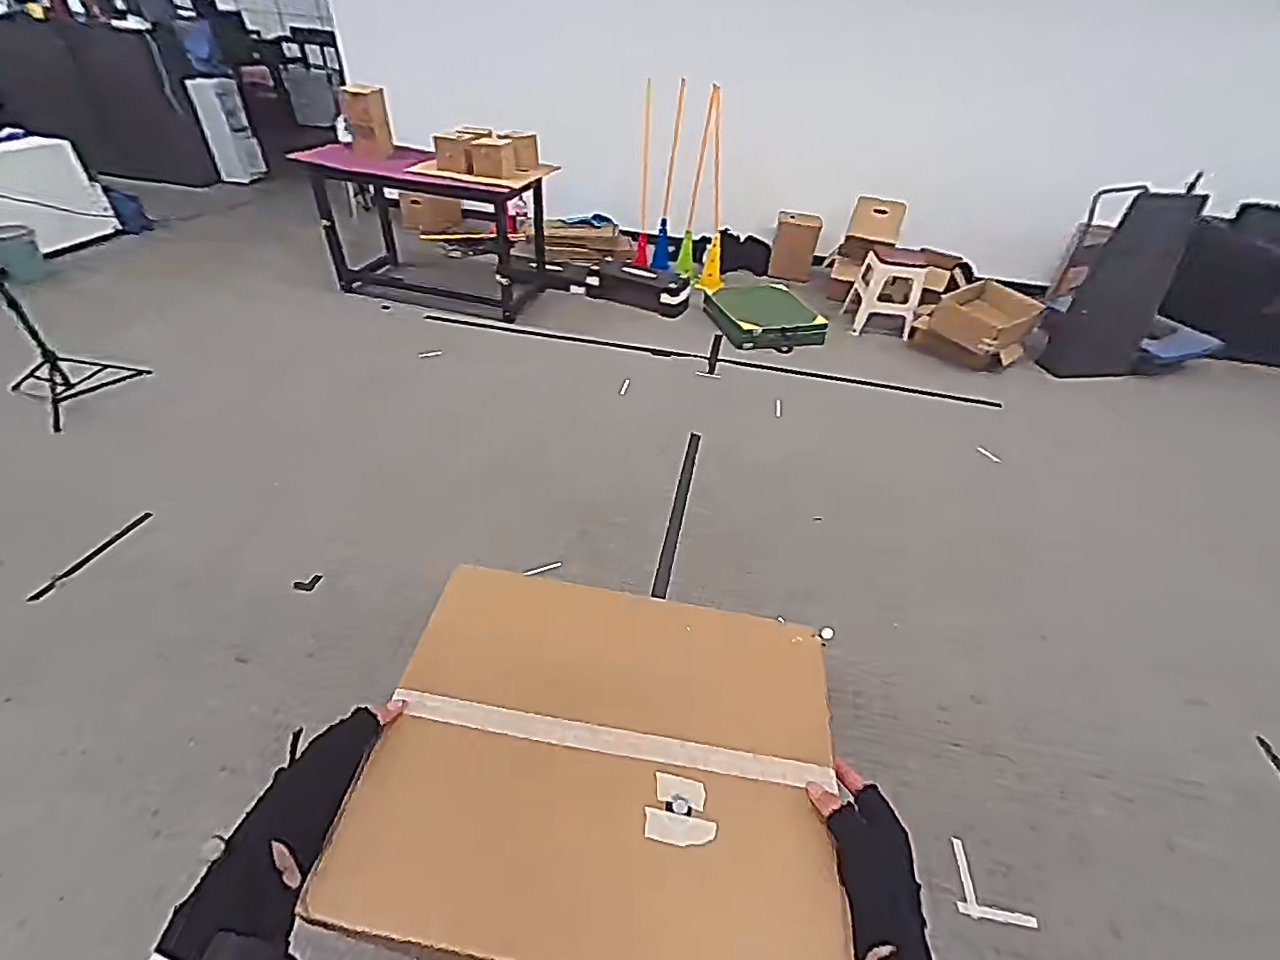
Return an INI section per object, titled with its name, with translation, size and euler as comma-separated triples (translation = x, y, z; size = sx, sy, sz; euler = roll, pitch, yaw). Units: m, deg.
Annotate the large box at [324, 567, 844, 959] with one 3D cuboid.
[large box]
translation = -0.040, 0.339, 0.608
size = 0.408, 0.320, 0.320
euler = 10, 46, 2
